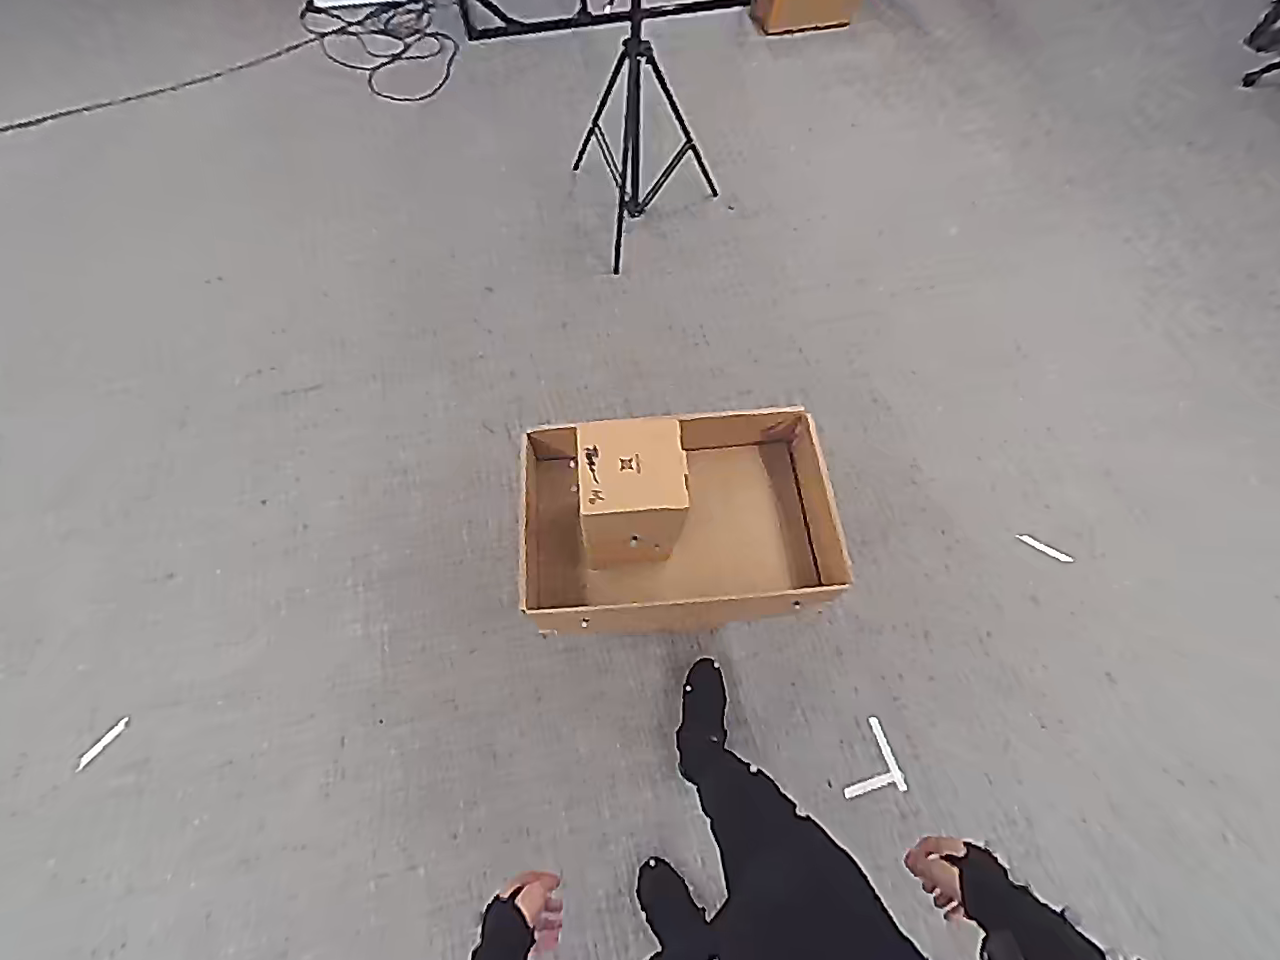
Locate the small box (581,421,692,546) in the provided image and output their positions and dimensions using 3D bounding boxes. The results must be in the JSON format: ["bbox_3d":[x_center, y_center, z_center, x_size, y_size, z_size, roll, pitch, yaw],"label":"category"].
[{"bbox_3d":[-0.014,0.011,0.950,0.179,0.176,0.168,-3,65,-4],"label":"small box"}]
